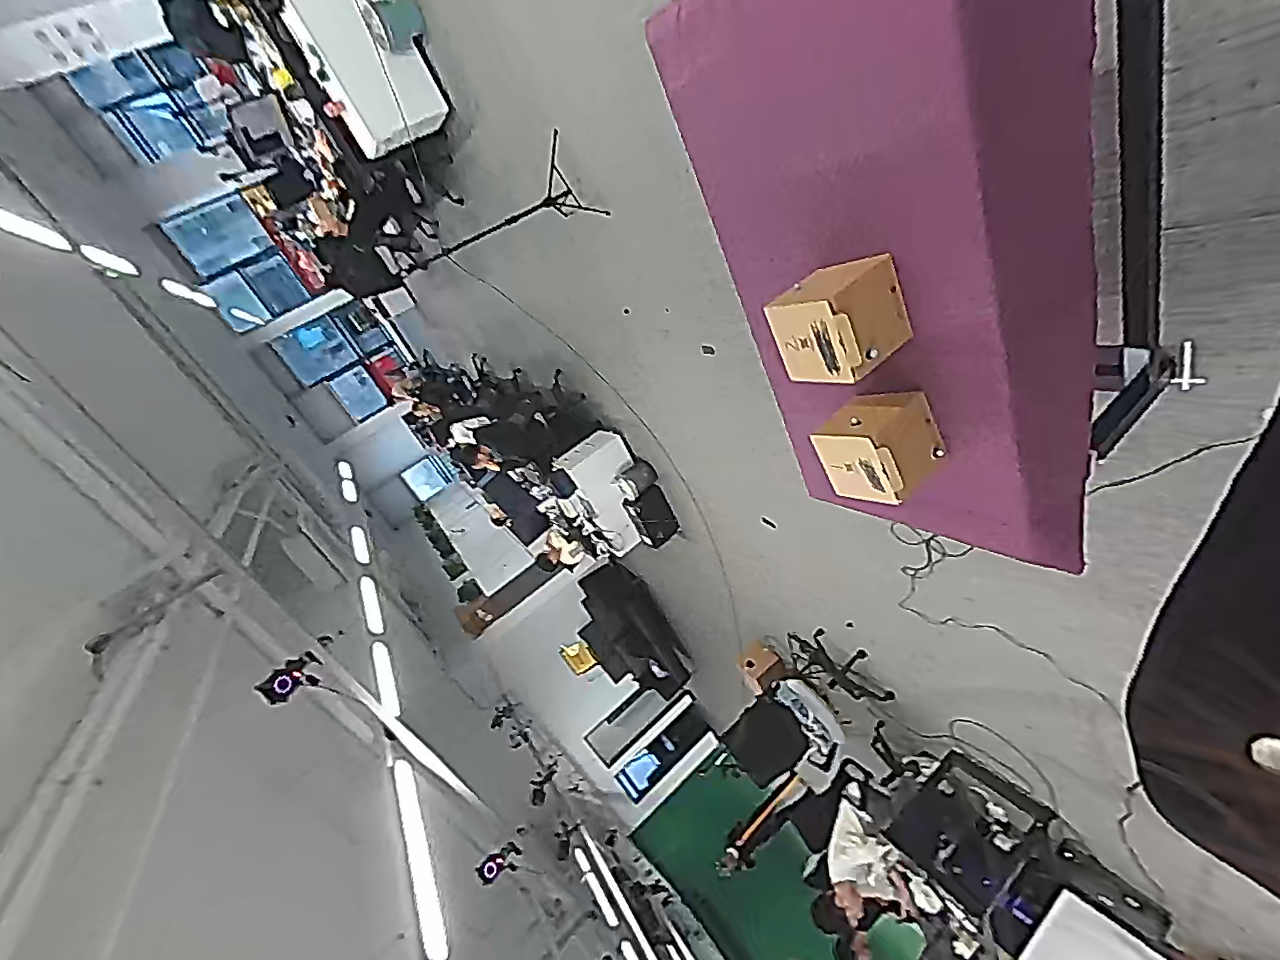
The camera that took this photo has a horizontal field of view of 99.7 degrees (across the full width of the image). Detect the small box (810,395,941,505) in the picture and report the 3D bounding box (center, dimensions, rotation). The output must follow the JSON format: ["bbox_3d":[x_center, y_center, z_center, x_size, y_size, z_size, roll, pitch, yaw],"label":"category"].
[{"bbox_3d":[0.508,-0.069,1.155,0.168,0.176,0.179,59,162,-17],"label":"small box"}]
